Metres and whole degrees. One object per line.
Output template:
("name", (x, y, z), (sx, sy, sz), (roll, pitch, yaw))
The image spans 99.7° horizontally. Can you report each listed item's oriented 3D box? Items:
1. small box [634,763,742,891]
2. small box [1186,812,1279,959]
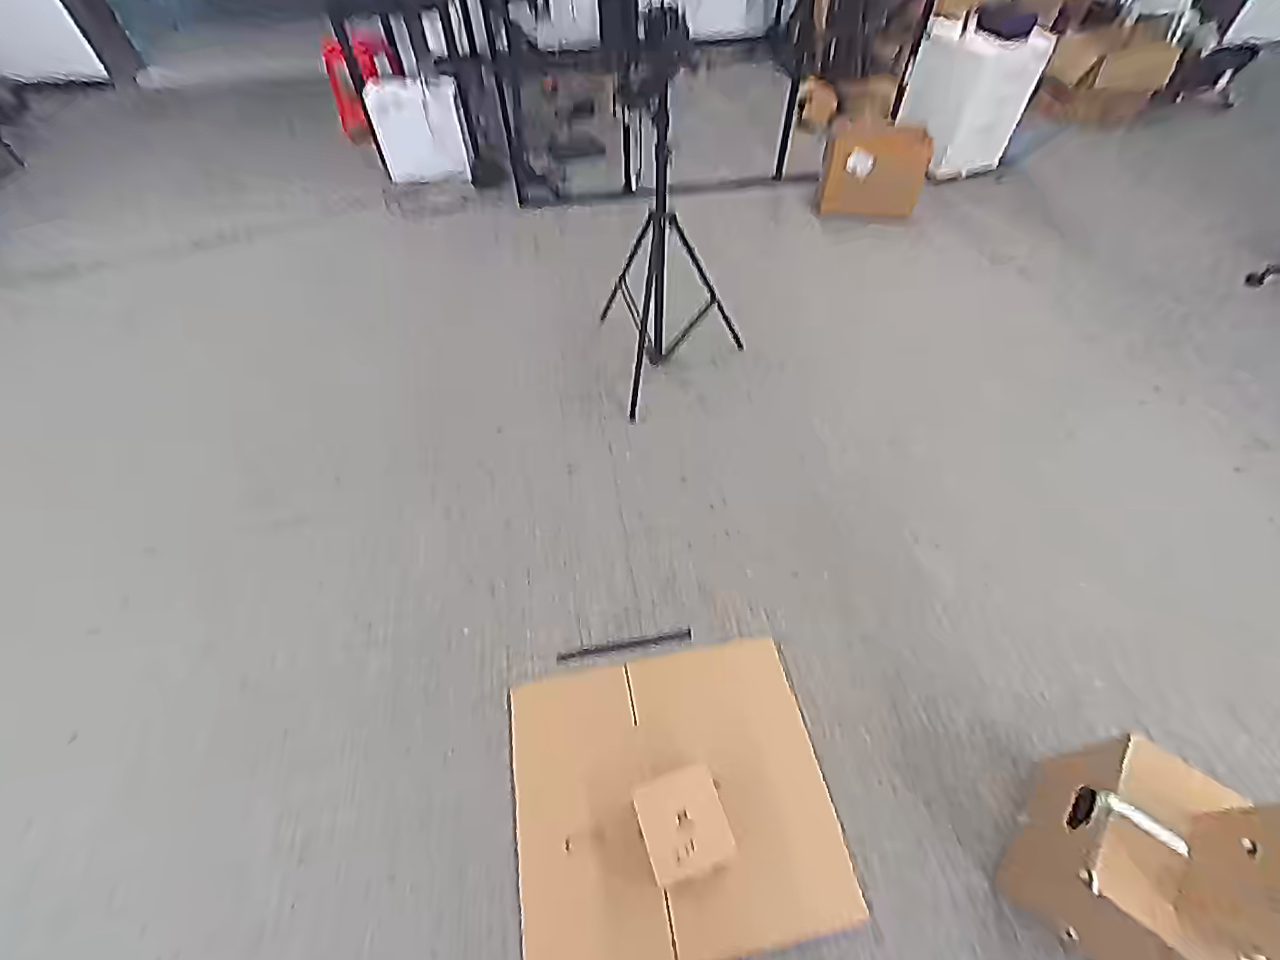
("small box", (0.092, 0.716, 1.113), (0.168, 0.176, 0.179), (-17, 55, -9))
("small box", (0.969, 0.623, 0.795), (0.168, 0.176, 0.179), (33, 61, 23))
